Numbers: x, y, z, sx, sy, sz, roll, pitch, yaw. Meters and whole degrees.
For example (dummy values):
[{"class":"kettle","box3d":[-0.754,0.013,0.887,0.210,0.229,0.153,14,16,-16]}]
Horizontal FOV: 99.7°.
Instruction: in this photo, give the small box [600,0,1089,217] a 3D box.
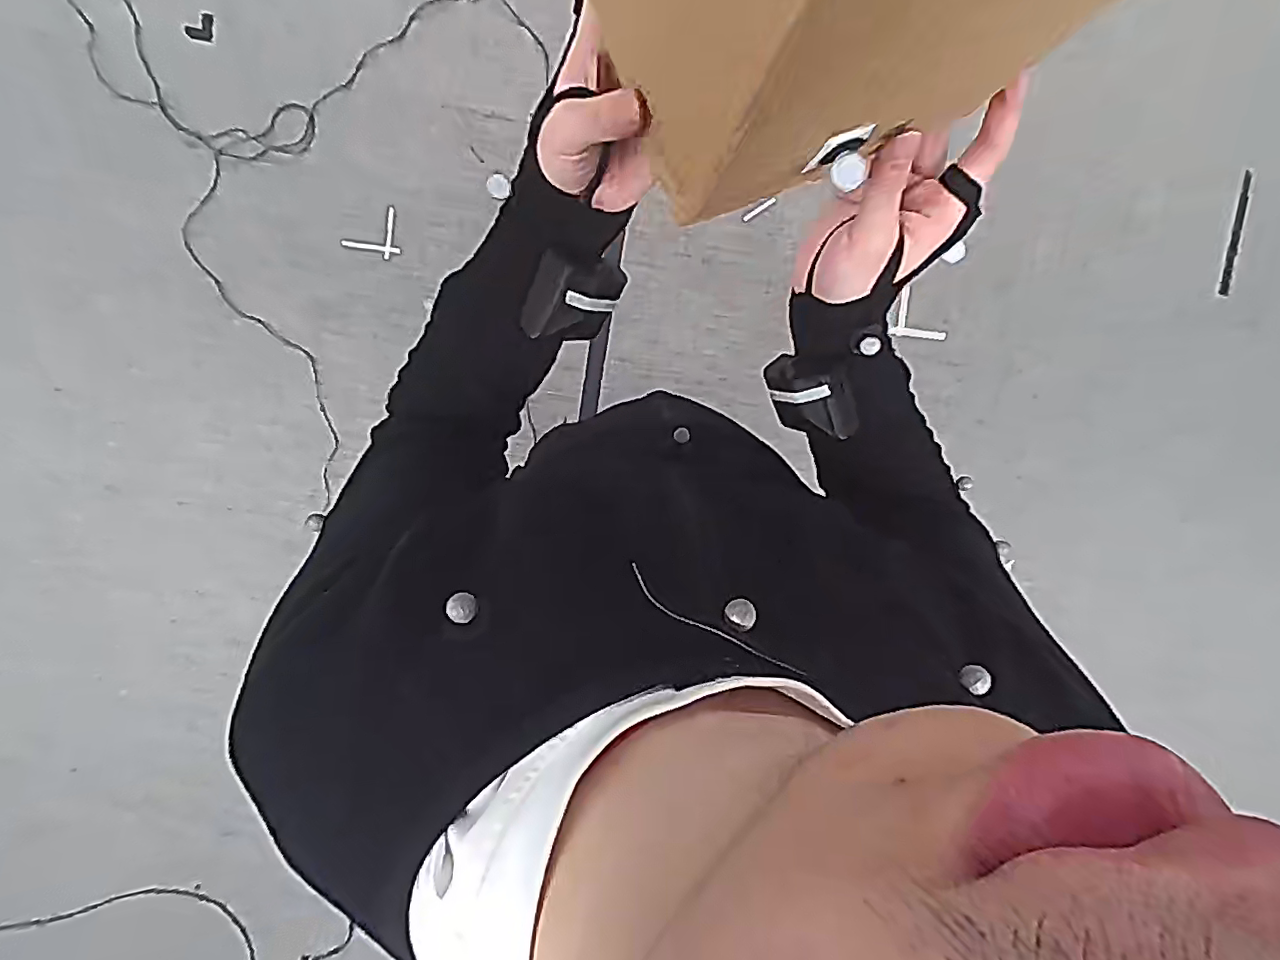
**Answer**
[{"class":"small box","box3d":[0.071,-0.233,0.192,0.168,0.176,0.179,-25,98,-2]}]
